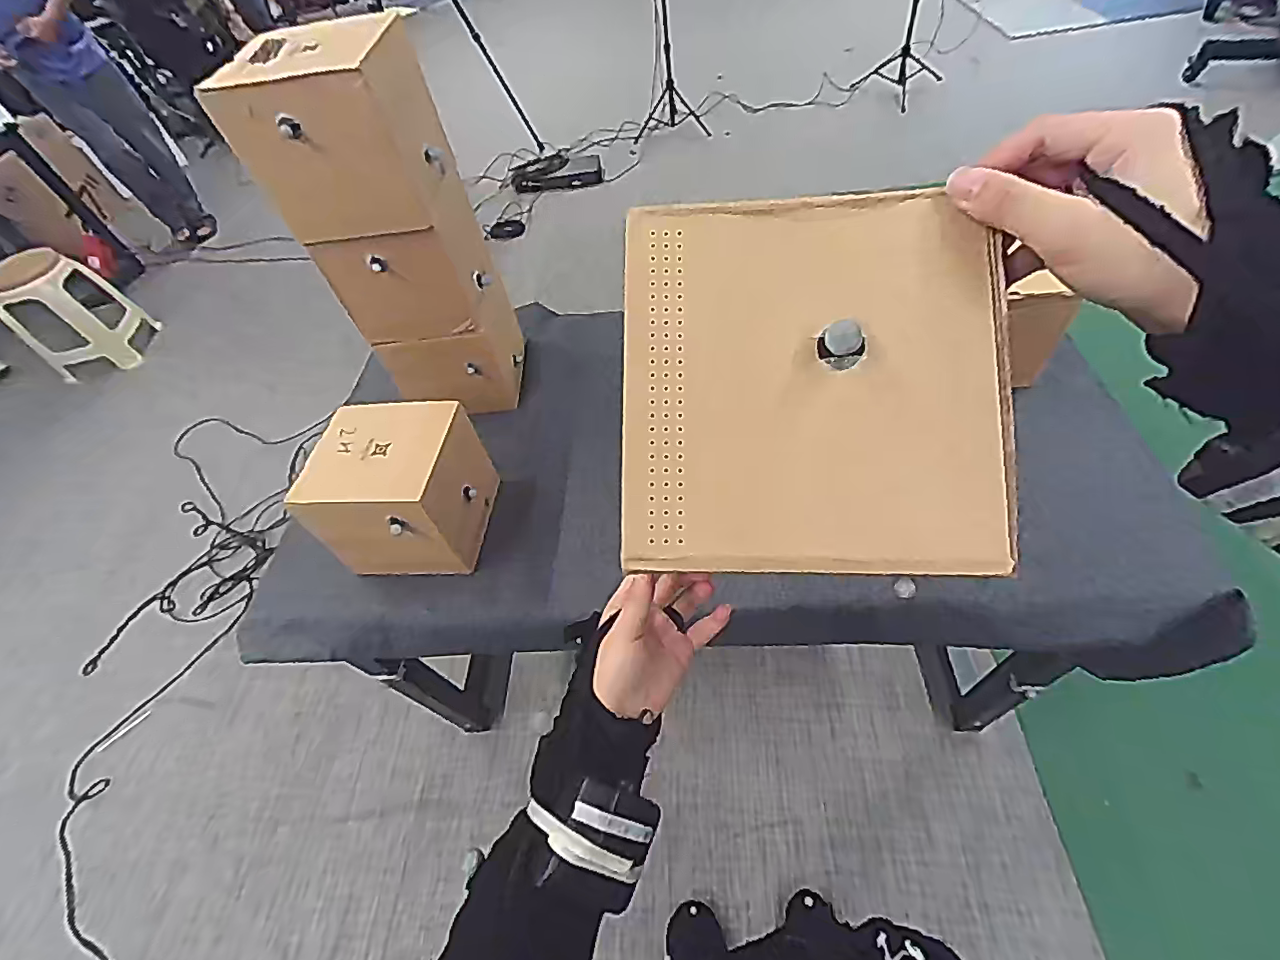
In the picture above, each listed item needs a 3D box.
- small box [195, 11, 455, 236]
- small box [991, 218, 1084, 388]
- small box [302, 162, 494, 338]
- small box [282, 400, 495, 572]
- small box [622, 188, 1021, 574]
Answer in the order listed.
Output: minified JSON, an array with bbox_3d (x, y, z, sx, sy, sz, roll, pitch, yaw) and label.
[{"bbox_3d":[-0.345,-0.409,0.636,0.179,0.176,0.168,-4,55,5],"label":"small box"},{"bbox_3d":[0.490,-0.255,0.796,0.168,0.176,0.179,-1,55,9],"label":"small box"},{"bbox_3d":[-0.329,-0.322,0.774,0.179,0.176,0.168,-5,55,4],"label":"small box"},{"bbox_3d":[-0.314,0.012,0.724,0.179,0.176,0.168,-1,51,8],"label":"small box"},{"bbox_3d":[0.081,-0.037,0.318,0.176,0.168,0.179,0,83,7],"label":"small box"}]
